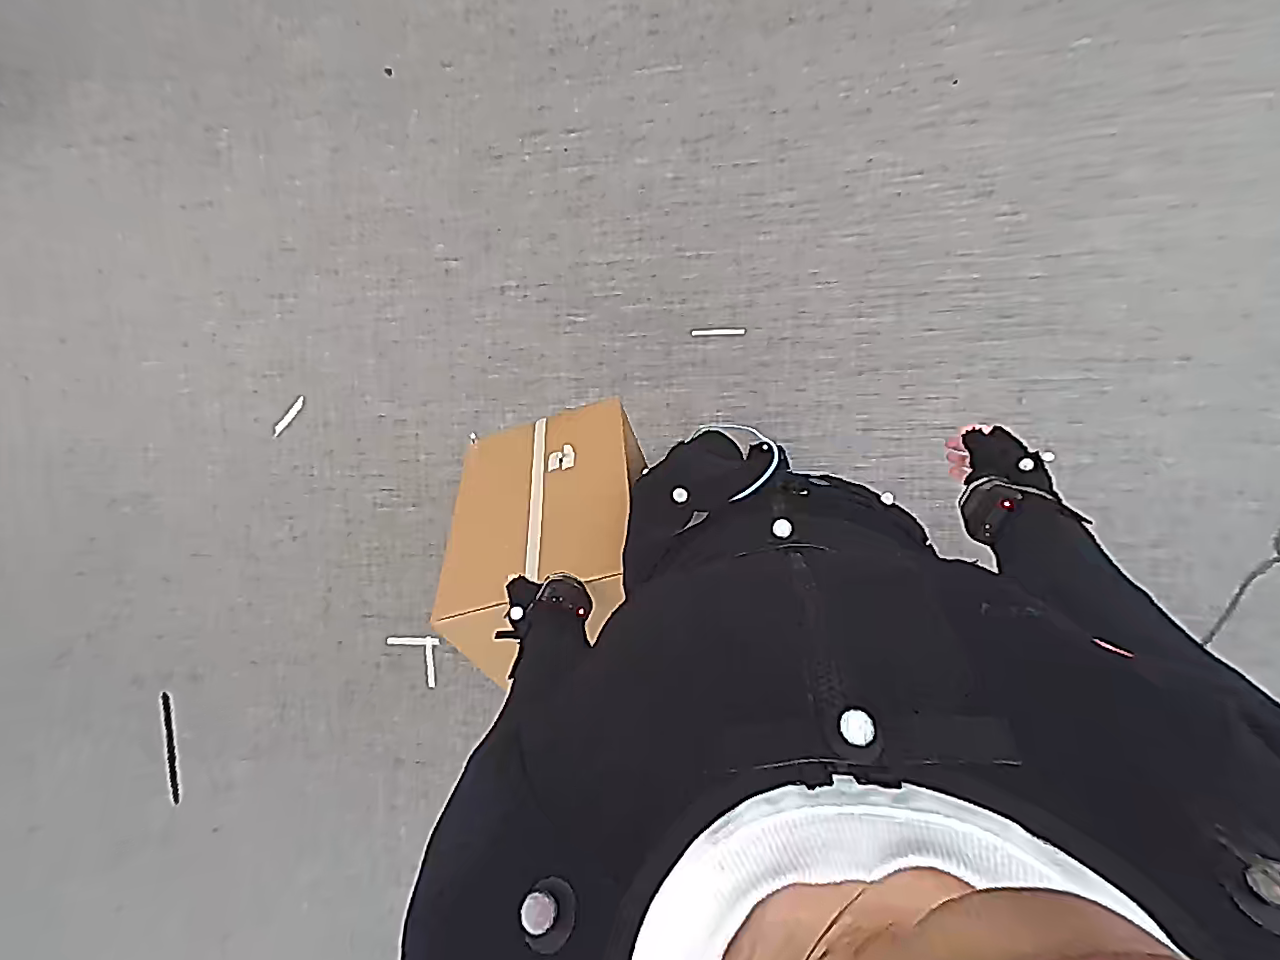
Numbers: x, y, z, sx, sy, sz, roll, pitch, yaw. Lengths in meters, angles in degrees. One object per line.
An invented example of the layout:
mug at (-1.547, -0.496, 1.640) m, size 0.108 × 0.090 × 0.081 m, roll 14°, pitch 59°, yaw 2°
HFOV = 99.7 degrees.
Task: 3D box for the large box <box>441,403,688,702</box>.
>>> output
large box at (-0.121, 0.129, 1.000) m, size 0.320 × 0.408 × 0.320 m, roll -15°, pitch 133°, yaw 7°
